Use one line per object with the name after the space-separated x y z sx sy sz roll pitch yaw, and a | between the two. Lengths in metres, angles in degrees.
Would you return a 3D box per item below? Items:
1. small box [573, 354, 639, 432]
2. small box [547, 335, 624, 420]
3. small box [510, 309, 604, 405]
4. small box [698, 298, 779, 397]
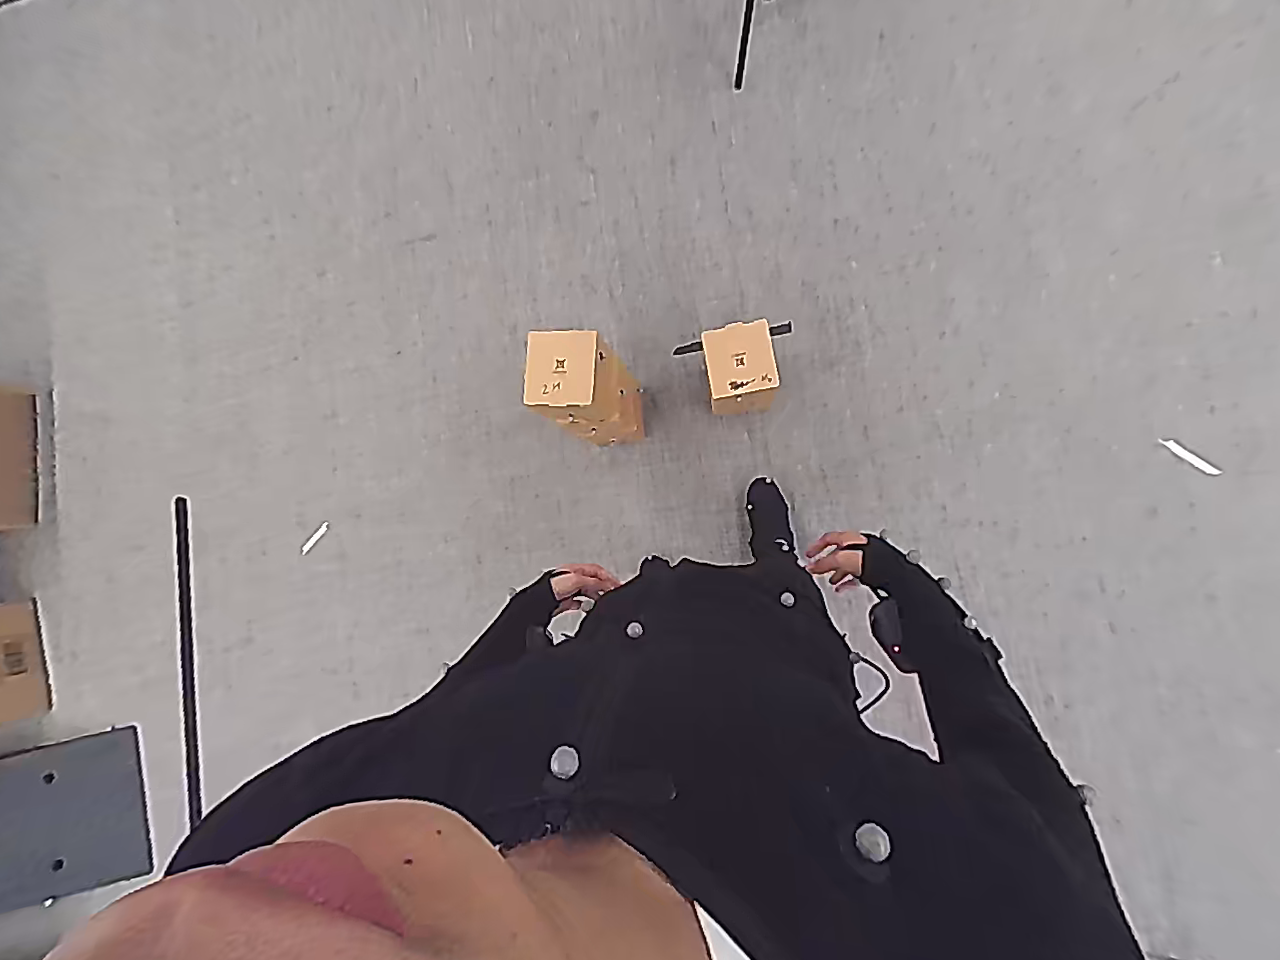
-0.100 -0.245 1.552 0.168 0.176 0.179 -6 85 9 | small box
-0.137 -0.258 1.395 0.168 0.176 0.179 -3 86 10 | small box
-0.182 -0.276 1.236 0.168 0.176 0.179 3 87 10 | small box
0.238 -0.321 1.336 0.168 0.176 0.179 -10 84 8 | small box
